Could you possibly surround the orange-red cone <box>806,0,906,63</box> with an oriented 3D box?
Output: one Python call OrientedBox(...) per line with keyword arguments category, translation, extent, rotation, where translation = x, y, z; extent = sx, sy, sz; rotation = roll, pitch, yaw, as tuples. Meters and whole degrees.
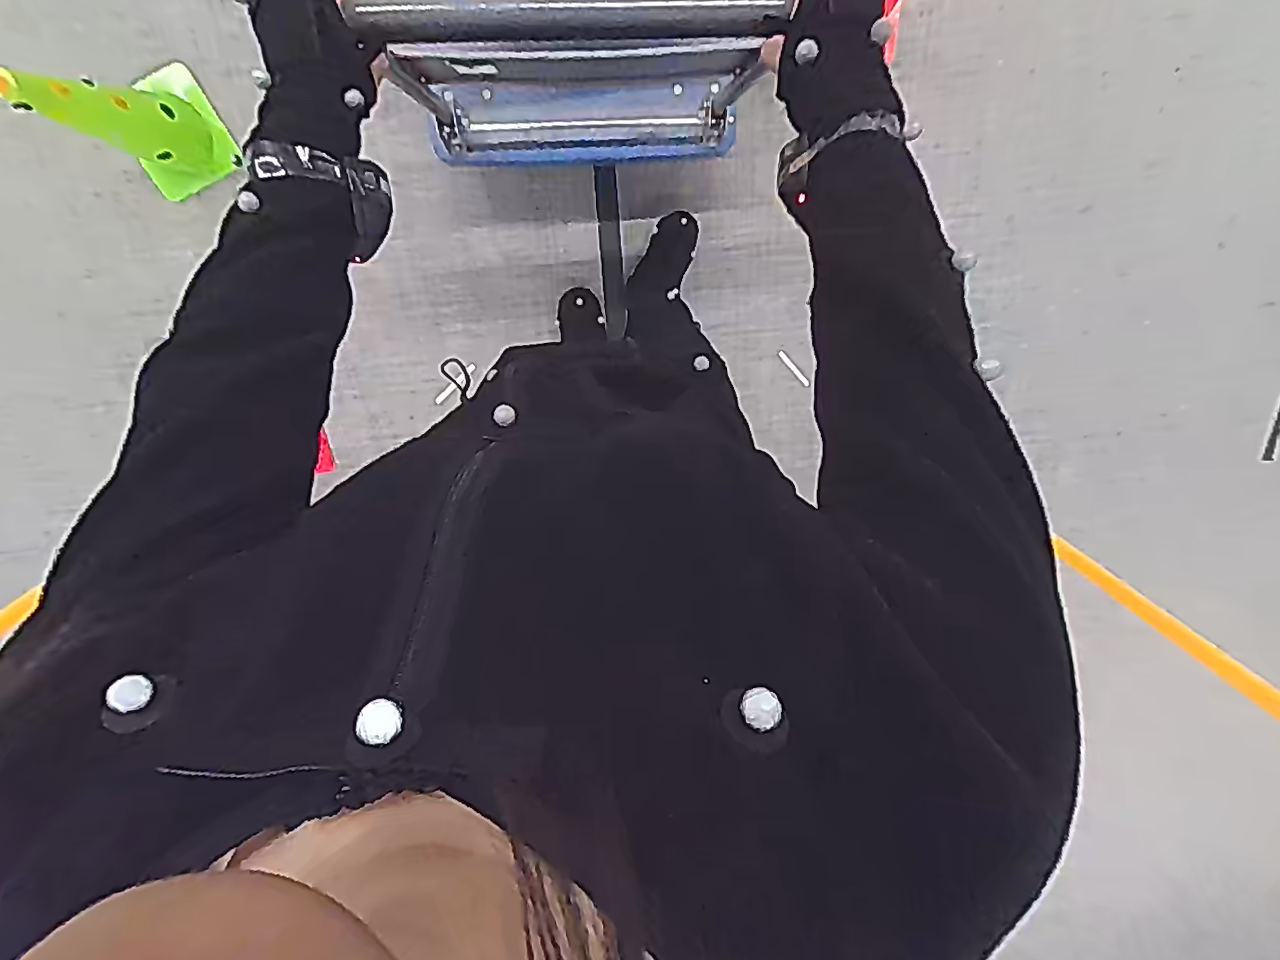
OrientedBox(category="orange-red cone", translation=(0.460, -0.911, 0.945), extent=(0.199, 0.360, 0.198), rotation=(0, 112, -5))
